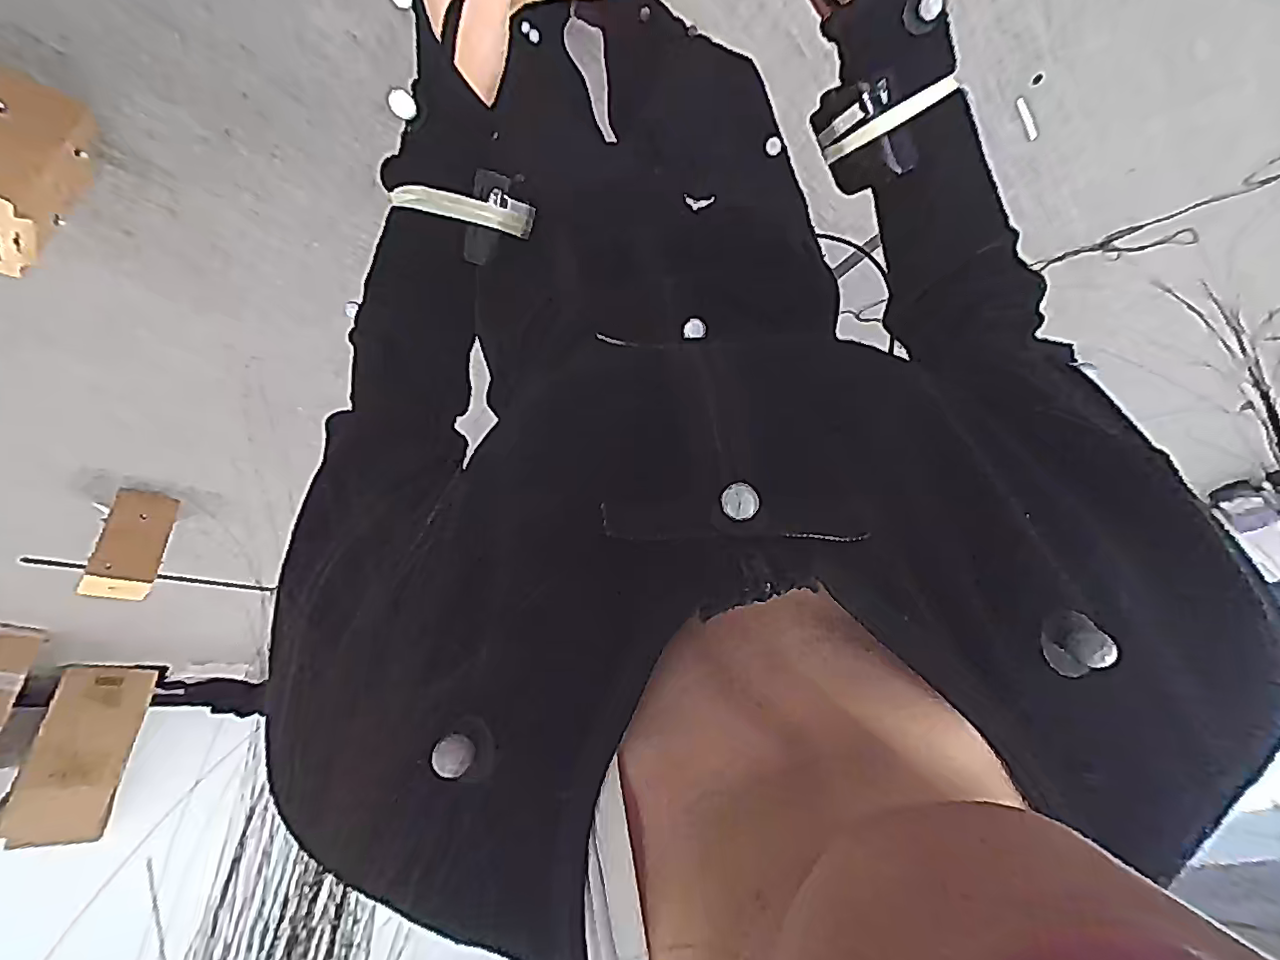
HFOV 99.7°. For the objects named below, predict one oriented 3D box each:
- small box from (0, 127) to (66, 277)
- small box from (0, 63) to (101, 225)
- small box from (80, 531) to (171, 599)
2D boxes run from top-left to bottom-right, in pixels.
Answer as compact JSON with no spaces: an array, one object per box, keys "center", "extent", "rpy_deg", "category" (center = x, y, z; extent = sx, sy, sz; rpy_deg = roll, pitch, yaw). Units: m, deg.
[{"center":[-1.088,-0.478,0.884],"extent":[0.179,0.176,0.168],"rpy_deg":[17,137,-36],"category":"small box"},{"center":[-1.118,-0.612,0.976],"extent":[0.179,0.176,0.168],"rpy_deg":[17,137,-35],"category":"small box"},{"center":[-1.769,0.293,1.864],"extent":[0.168,0.176,0.179],"rpy_deg":[-33,142,32],"category":"small box"}]
